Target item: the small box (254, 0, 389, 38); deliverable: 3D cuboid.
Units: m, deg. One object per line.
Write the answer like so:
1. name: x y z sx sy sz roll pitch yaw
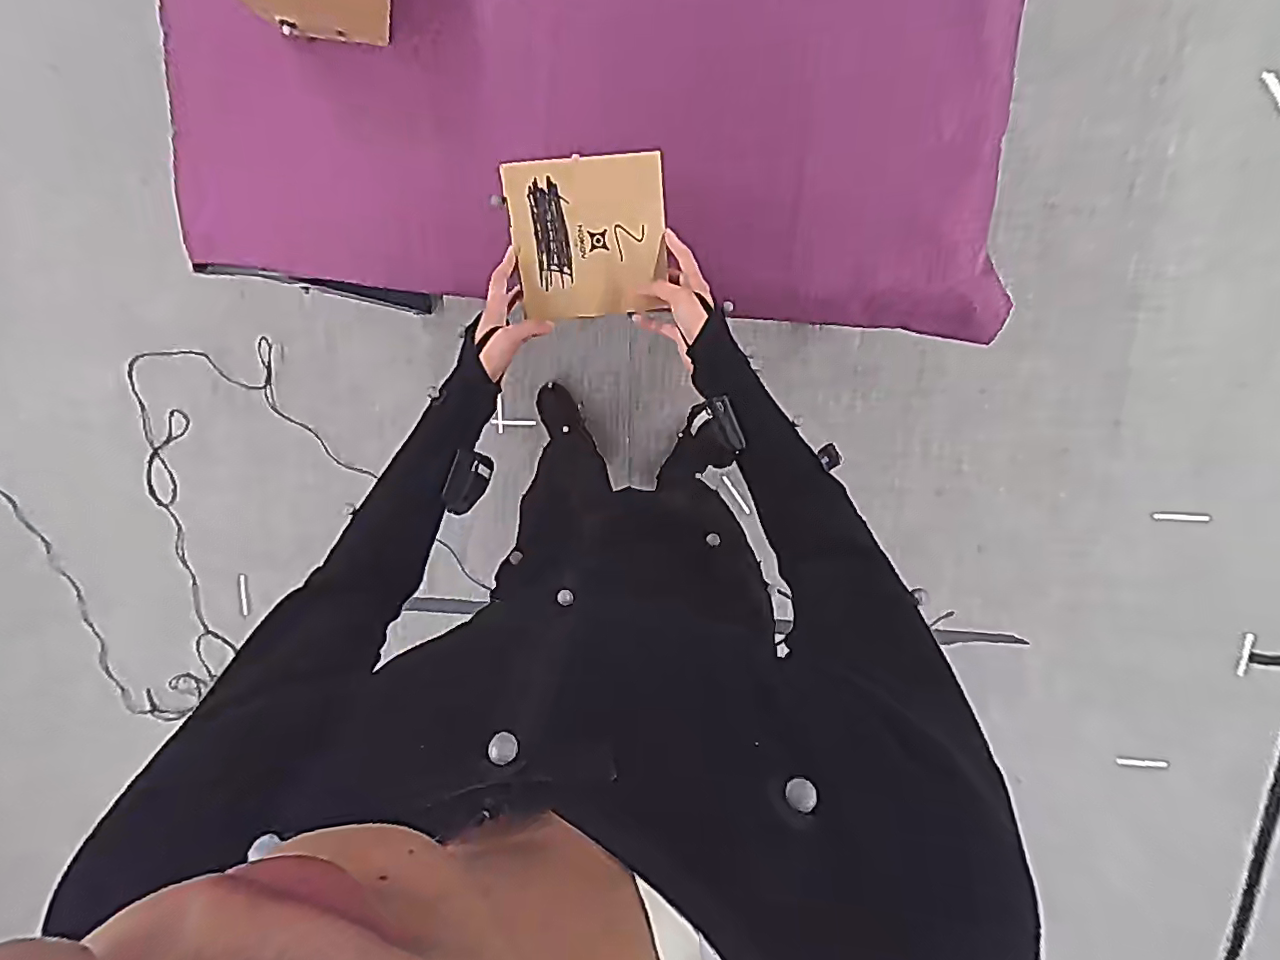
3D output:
1. small box: -0.433 -0.705 0.680 0.168 0.176 0.179 8 102 1
